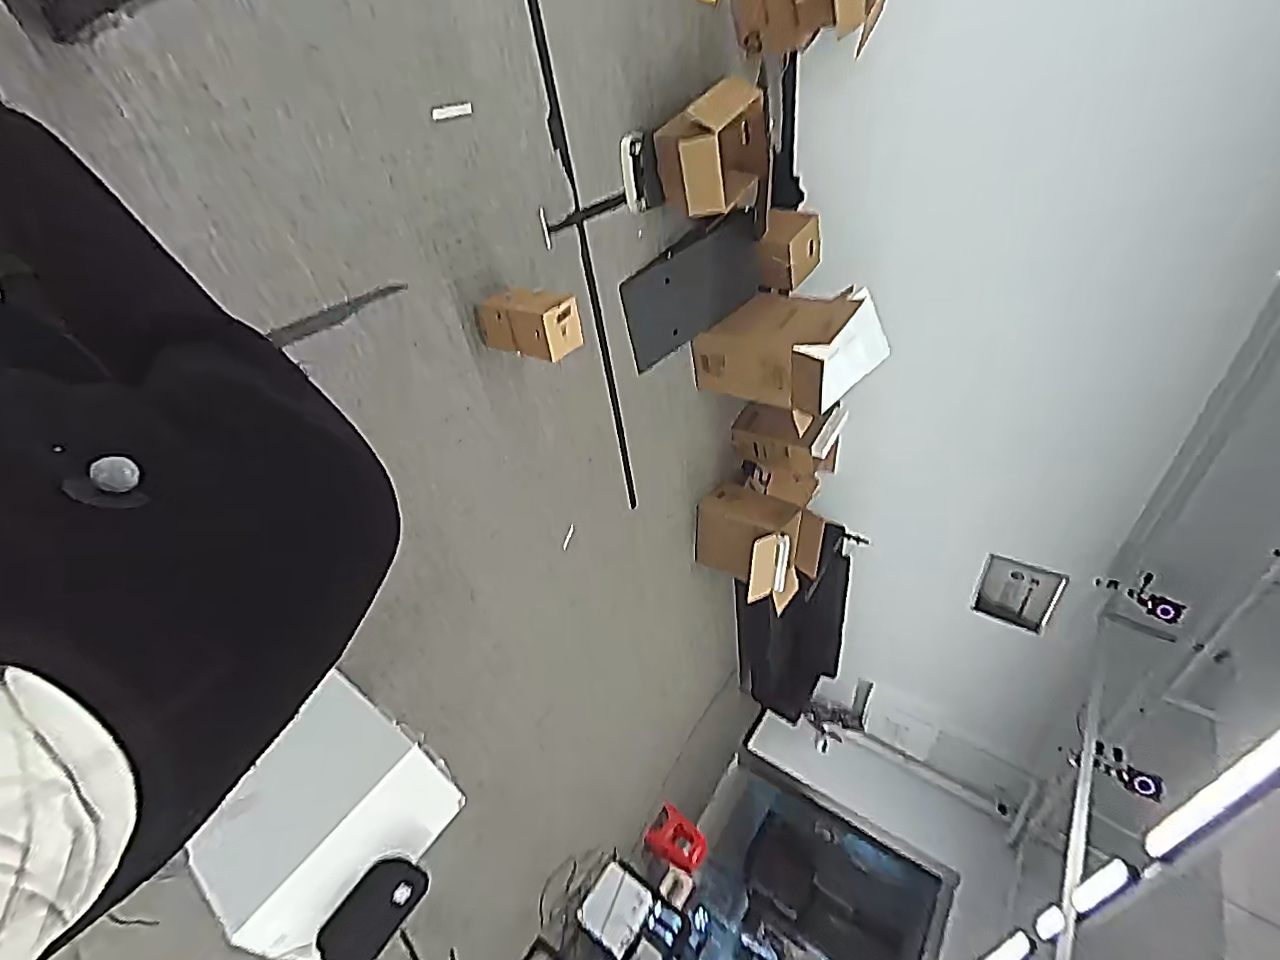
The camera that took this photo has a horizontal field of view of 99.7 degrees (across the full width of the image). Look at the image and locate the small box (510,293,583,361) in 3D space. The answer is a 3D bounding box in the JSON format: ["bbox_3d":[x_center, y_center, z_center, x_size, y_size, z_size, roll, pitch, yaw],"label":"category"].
[{"bbox_3d":[-0.325,-0.537,1.878,0.168,0.176,0.179,-45,141,-36],"label":"small box"}]
